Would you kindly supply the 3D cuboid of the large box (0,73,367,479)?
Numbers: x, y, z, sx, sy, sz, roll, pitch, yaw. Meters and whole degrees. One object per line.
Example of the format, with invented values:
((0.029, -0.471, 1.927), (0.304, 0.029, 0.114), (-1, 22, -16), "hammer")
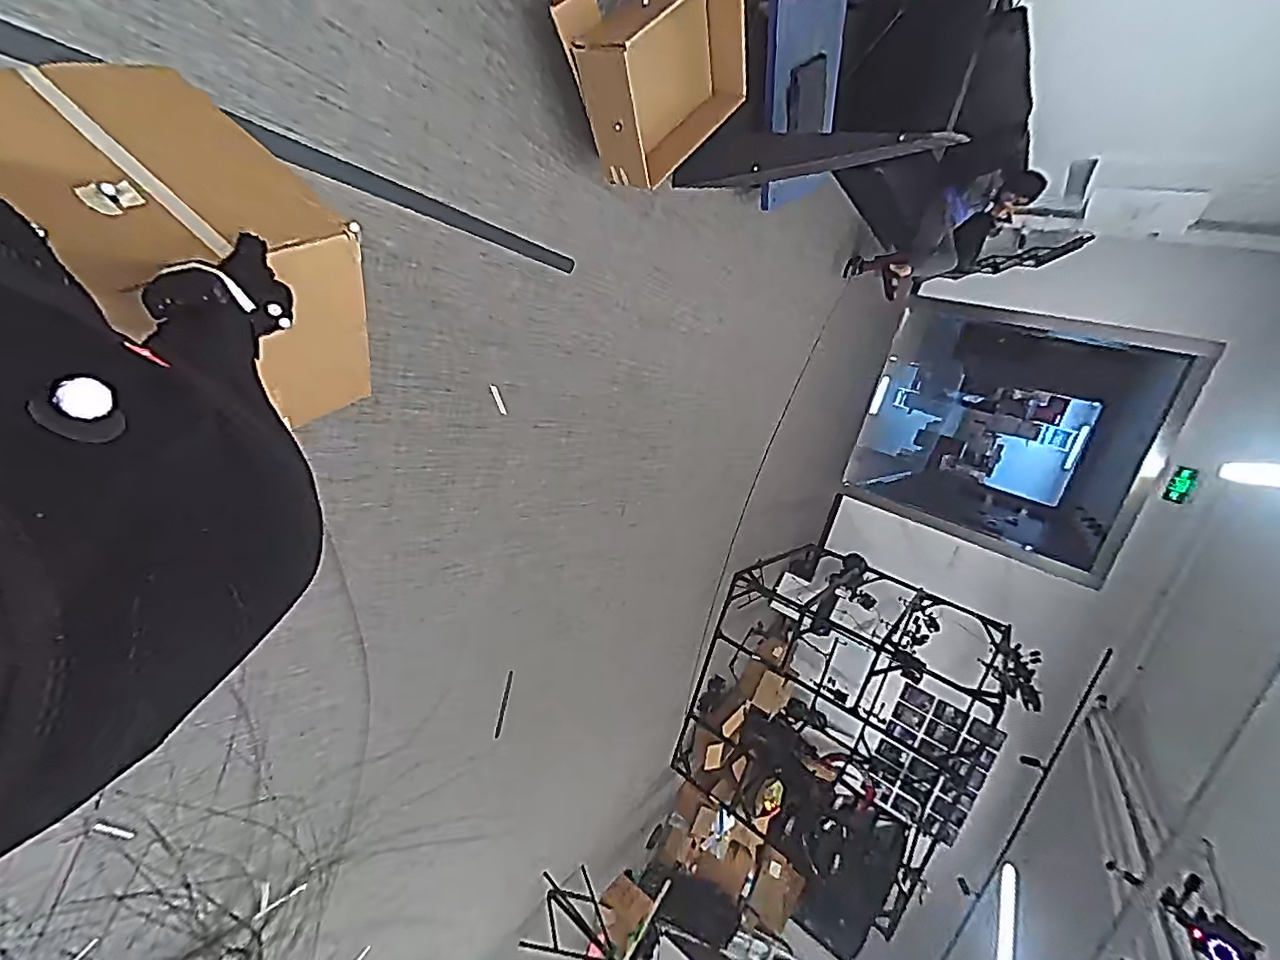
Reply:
((-0.654, -0.282, 0.755), (0.320, 0.408, 0.320), (-43, 171, -37), "large box")
